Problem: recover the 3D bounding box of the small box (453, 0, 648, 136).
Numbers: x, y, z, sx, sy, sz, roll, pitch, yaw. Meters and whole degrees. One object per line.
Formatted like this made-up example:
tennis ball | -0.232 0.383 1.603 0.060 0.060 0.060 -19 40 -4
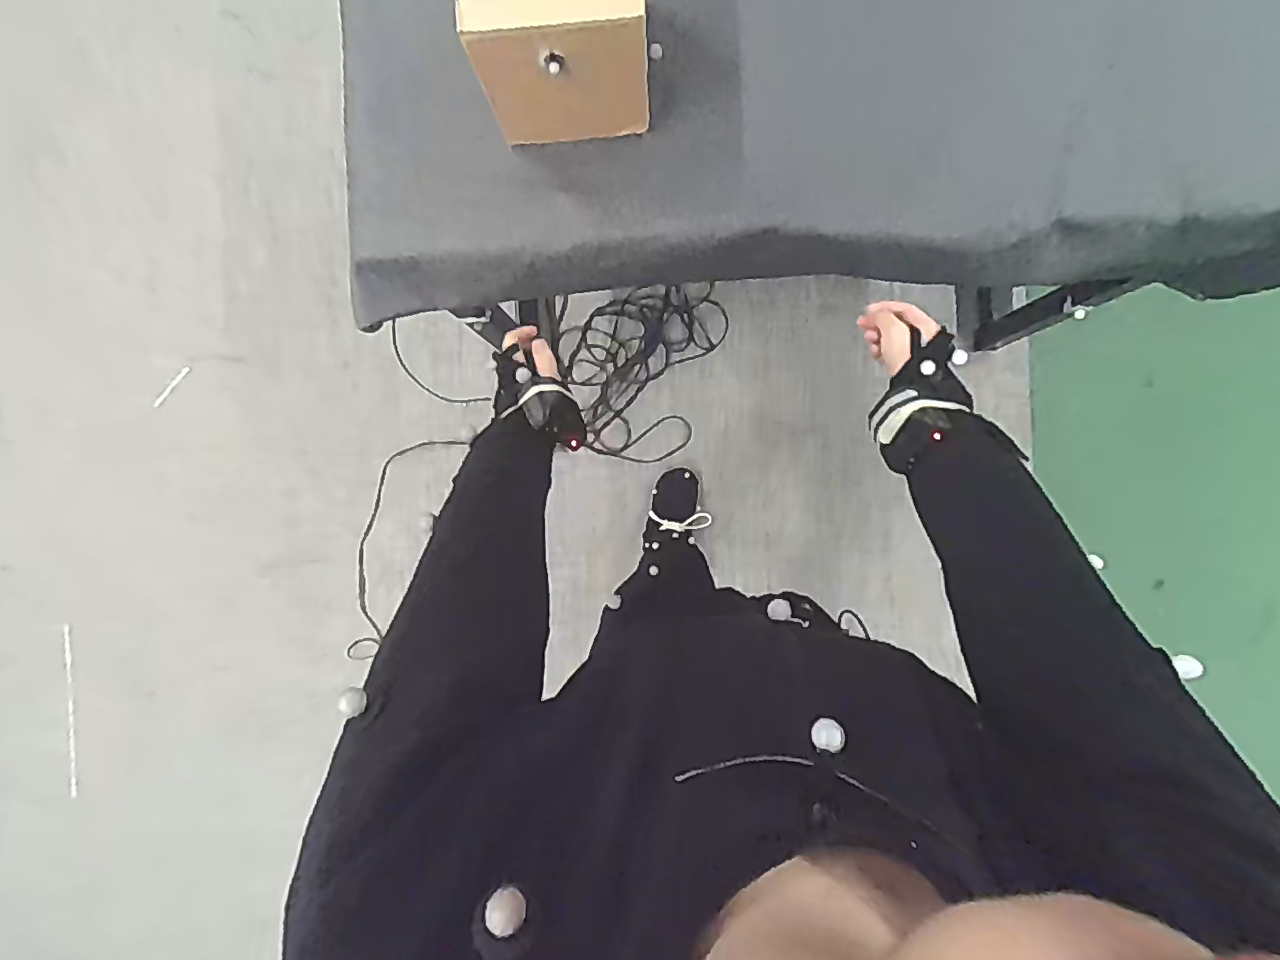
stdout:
small box | -0.084 -0.496 0.571 0.179 0.176 0.168 -3 90 2
